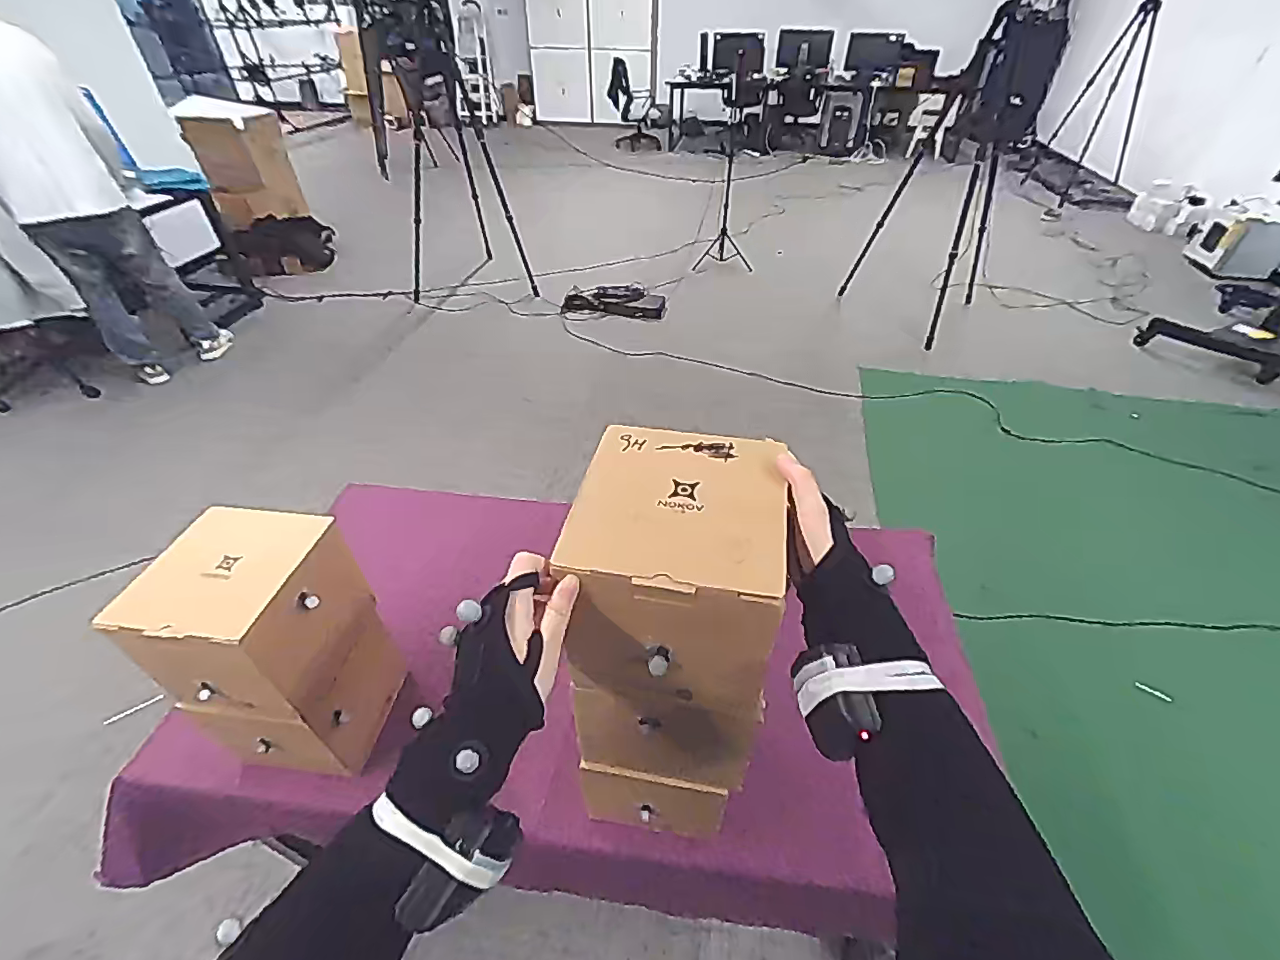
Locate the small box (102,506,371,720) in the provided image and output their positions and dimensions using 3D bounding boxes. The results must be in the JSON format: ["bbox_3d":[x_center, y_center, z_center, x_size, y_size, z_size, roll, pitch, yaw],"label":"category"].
[{"bbox_3d":[-0.453,0.157,0.651,0.168,0.176,0.179,5,42,6],"label":"small box"}]

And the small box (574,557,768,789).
[{"bbox_3d":[0.038,0.211,0.592,0.179,0.176,0.168,8,42,8],"label":"small box"}]

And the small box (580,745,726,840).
[{"bbox_3d":[0.029,0.335,0.701,0.168,0.176,0.179,8,42,8],"label":"small box"}]
